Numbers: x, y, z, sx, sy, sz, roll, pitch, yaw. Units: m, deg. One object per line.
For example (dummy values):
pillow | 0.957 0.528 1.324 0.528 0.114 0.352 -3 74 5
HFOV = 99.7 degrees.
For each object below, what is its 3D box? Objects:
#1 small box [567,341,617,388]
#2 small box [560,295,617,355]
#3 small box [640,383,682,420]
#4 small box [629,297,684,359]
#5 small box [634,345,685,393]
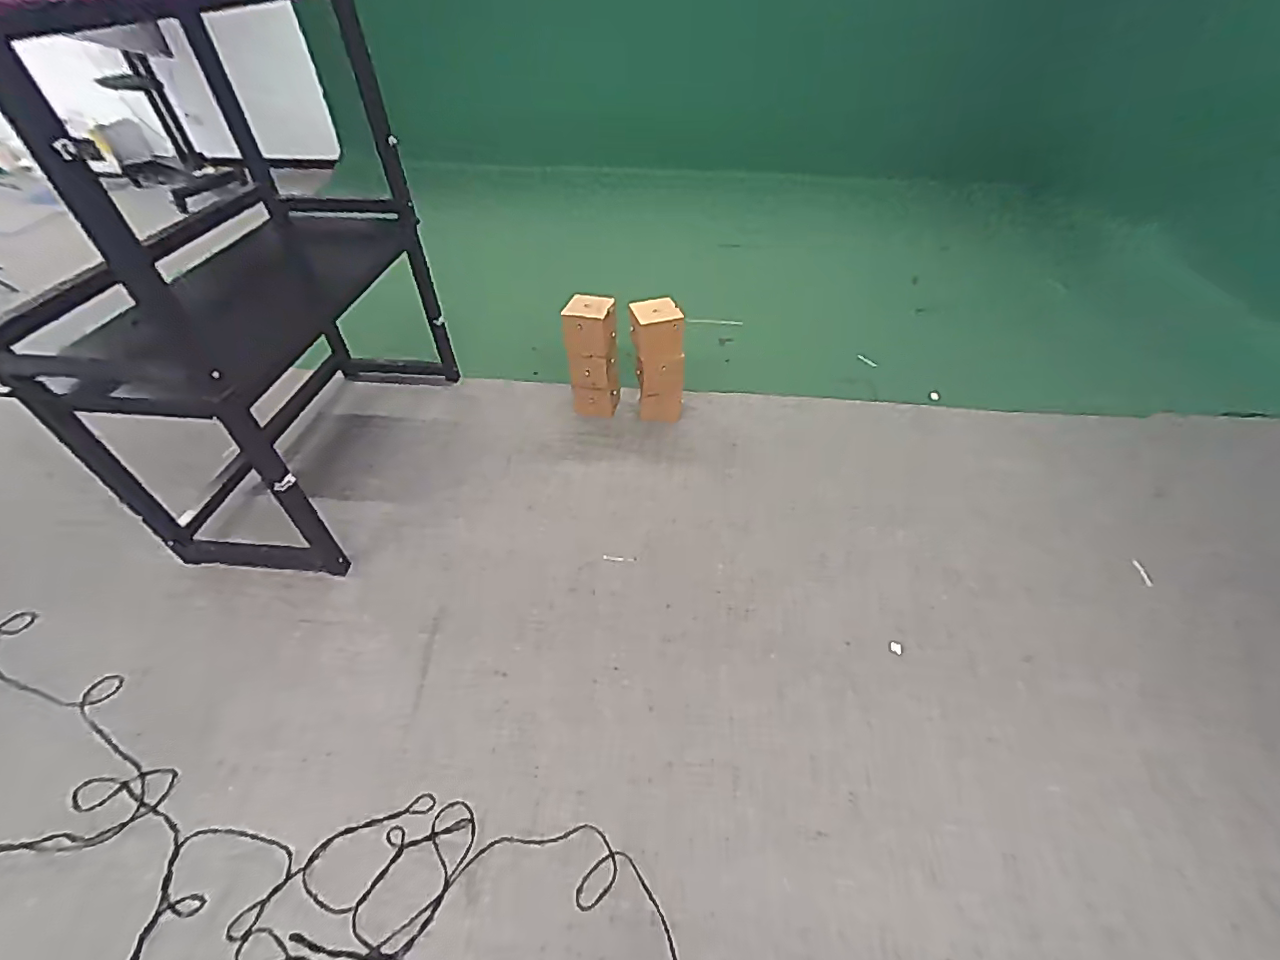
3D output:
small box | -0.196 -0.507 2.277 0.168 0.176 0.179 8 46 10
small box | -0.200 -0.616 2.150 0.179 0.176 0.168 10 47 12
small box | 0.091 -0.374 2.370 0.179 0.176 0.168 -1 46 -1
small box | 0.062 -0.598 2.134 0.179 0.176 0.168 -14 48 -13
small box | 0.079 -0.480 2.247 0.179 0.176 0.168 -10 48 -10
